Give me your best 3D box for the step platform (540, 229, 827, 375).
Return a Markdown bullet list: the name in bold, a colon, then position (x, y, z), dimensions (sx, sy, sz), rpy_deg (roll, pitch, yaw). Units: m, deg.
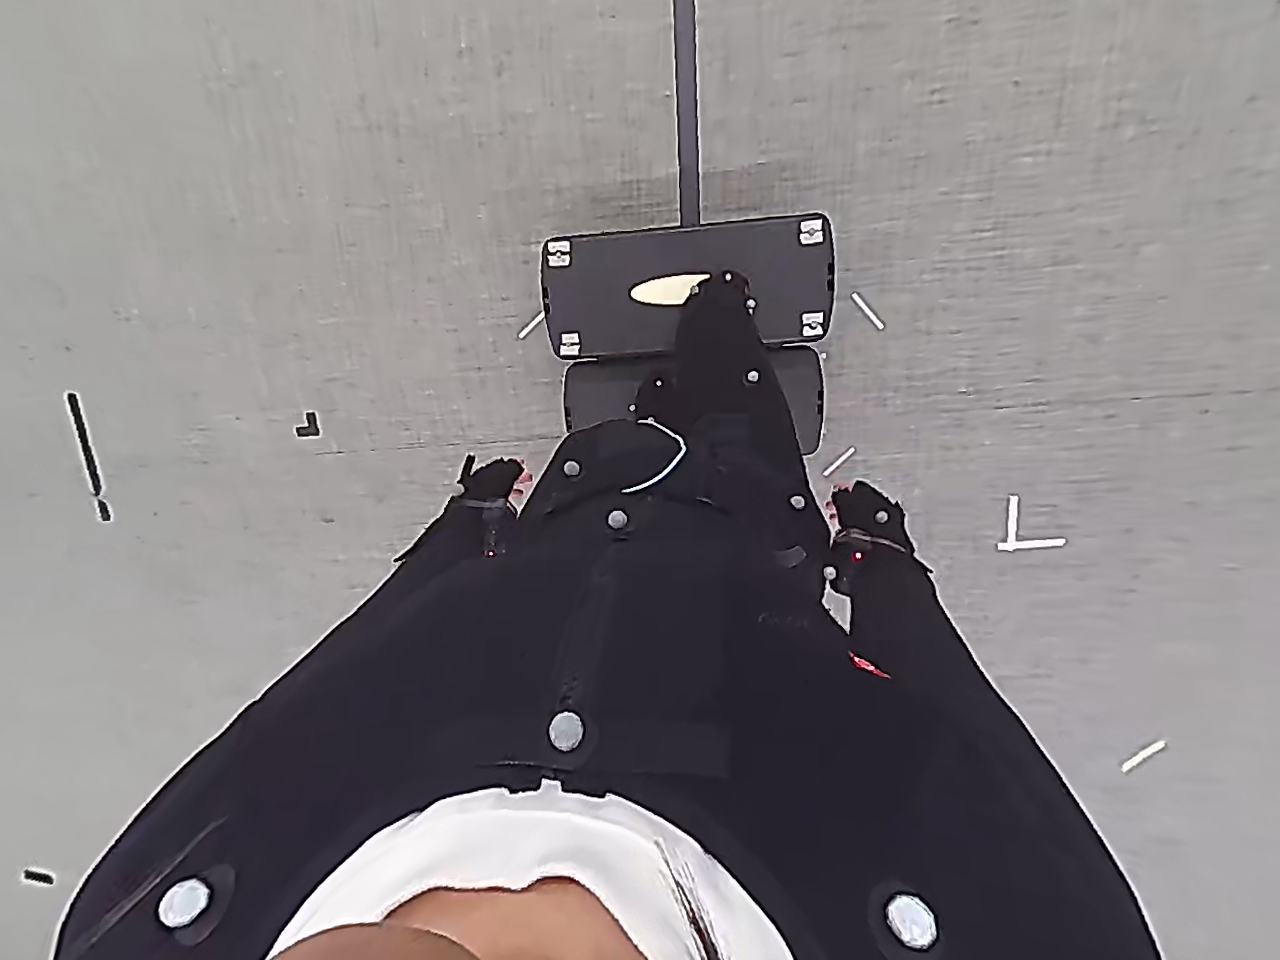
- **step platform**: position (0.101, -0.428, 1.331), dimensions (0.684, 0.204, 0.286), rpy_deg (-4, 104, 5)
